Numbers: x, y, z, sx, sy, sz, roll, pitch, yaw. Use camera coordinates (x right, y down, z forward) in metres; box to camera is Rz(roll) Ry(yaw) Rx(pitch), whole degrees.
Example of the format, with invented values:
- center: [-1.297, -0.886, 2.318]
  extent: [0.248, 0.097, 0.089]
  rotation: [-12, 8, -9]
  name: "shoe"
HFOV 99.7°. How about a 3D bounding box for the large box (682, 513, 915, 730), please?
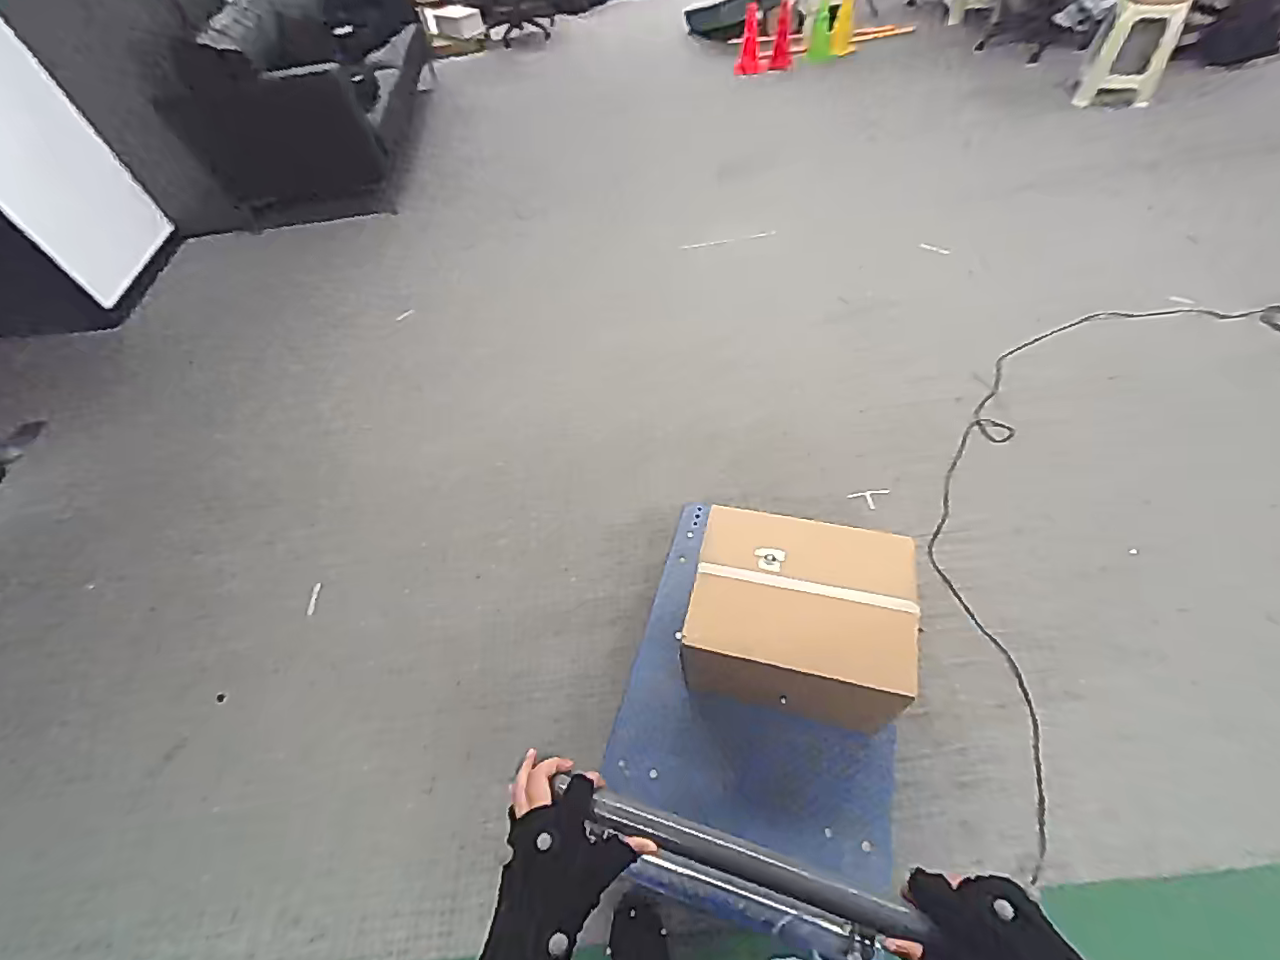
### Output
- center: [0.323, 0.302, 1.148]
  extent: [0.408, 0.320, 0.320]
  rotation: [8, 55, 14]
  name: "large box"
